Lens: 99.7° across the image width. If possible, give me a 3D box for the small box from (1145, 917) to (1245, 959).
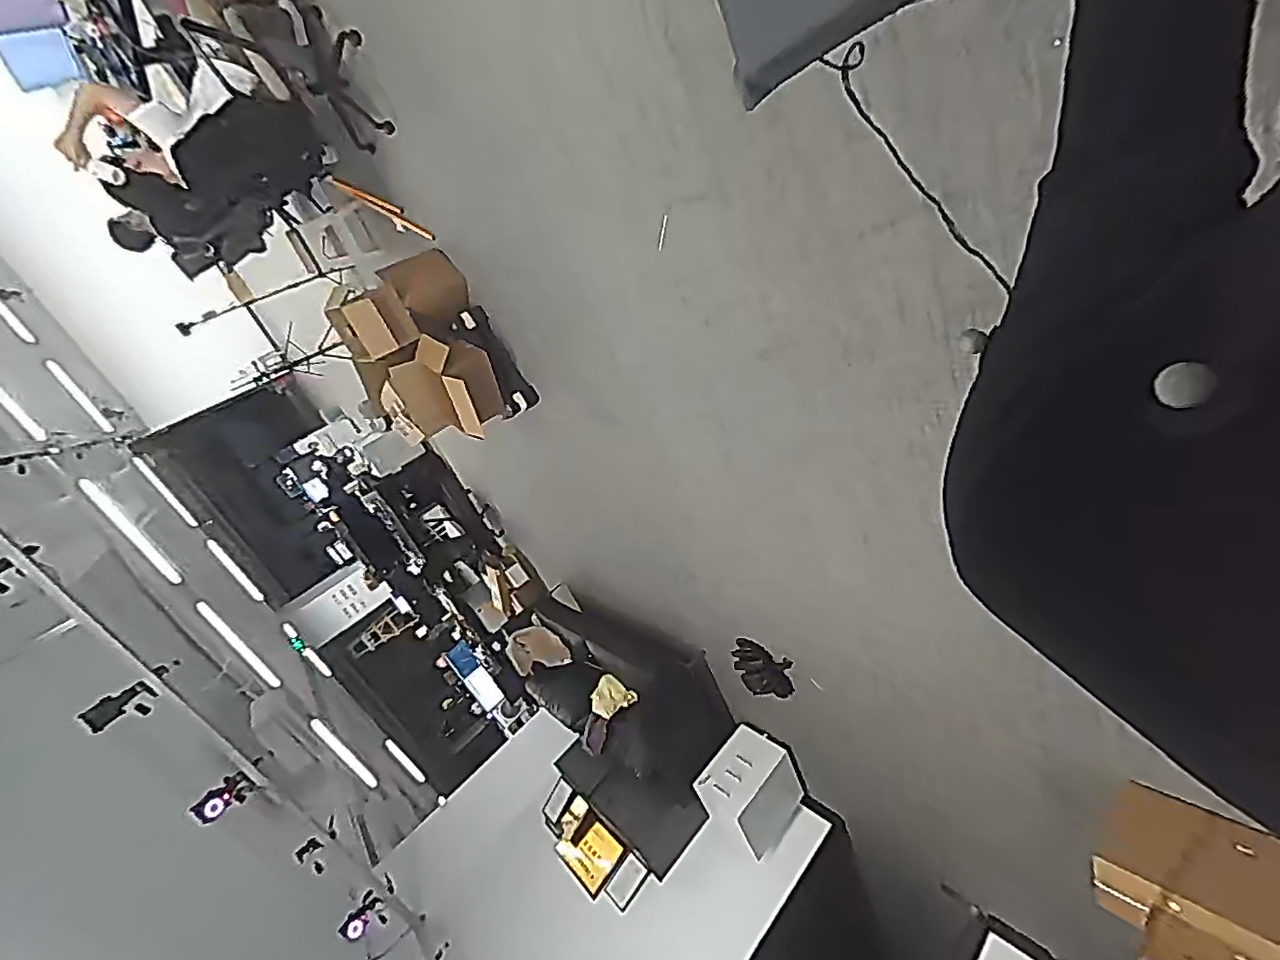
[{"bbox_3d":[1.555,1.390,1.525,0.179,0.176,0.168,15,131,48],"label":"small box"}]
